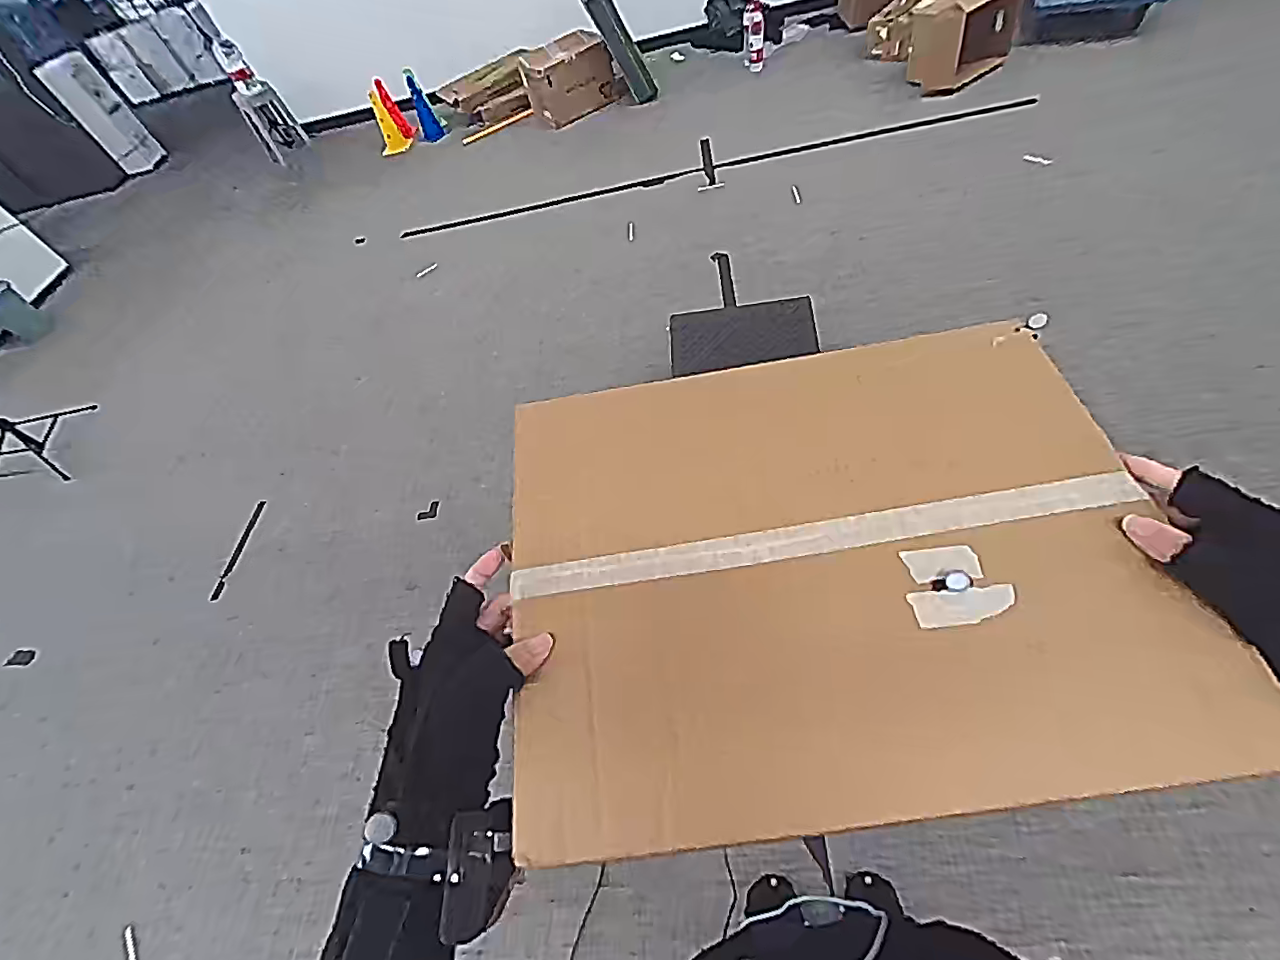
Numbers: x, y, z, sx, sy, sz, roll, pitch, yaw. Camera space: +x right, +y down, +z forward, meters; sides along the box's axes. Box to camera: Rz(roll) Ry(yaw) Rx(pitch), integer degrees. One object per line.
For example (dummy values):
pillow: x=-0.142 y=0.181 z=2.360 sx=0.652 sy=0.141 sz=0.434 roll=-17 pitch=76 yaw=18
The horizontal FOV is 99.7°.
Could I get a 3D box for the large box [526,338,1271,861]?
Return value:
large box: x=0.135 y=0.122 z=0.492 sx=0.408 sy=0.320 sz=0.320 roll=-9 pitch=59 yaw=2
